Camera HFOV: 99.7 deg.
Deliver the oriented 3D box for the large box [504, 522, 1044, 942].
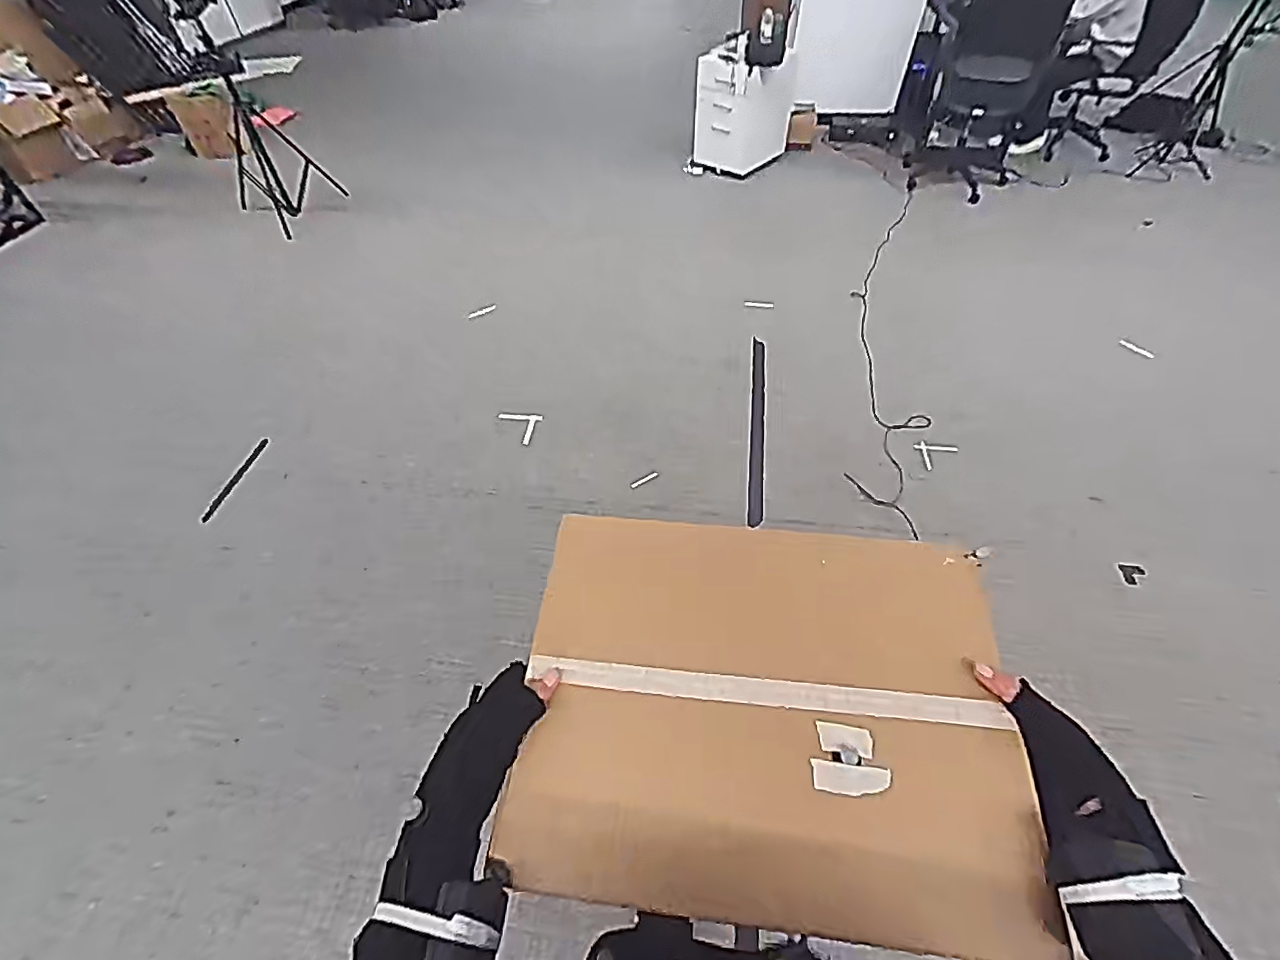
[{"bbox_3d":[0.109,0.265,0.600,0.408,0.320,0.320,4,58,6],"label":"large box"}]
